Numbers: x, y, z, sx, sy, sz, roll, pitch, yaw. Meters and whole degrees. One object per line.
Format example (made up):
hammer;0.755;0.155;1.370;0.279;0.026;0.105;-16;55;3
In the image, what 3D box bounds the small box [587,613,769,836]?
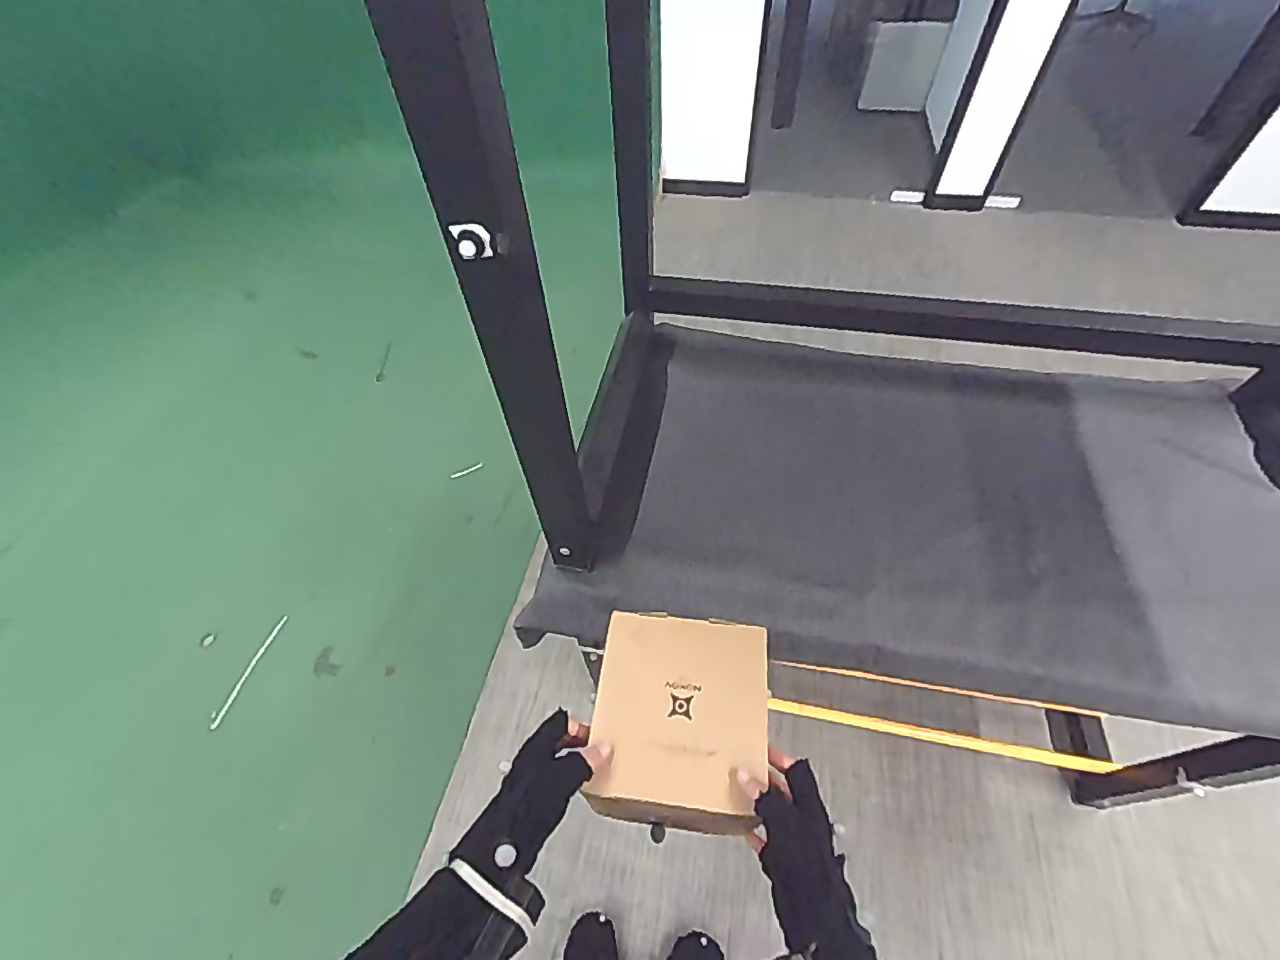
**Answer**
small box;0.046;0.269;0.592;0.168;0.176;0.179;4;52;7
